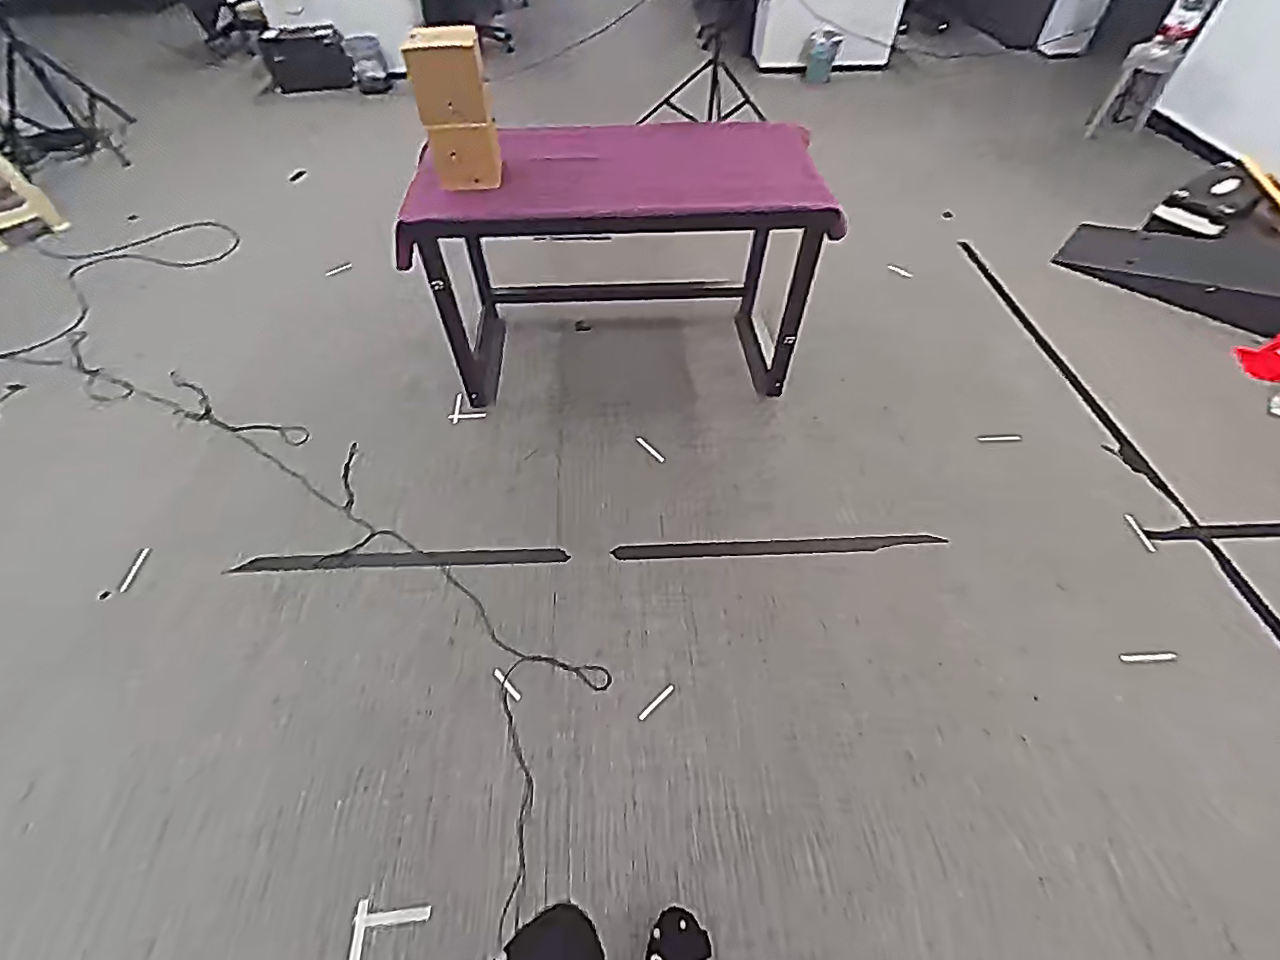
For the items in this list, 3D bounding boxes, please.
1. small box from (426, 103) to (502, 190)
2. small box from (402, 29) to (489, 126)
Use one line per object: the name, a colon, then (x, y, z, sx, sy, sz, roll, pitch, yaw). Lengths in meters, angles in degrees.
small box: (-0.493, -0.947, 1.542, 0.168, 0.176, 0.179, -6, 52, -4)
small box: (-0.499, -1.052, 1.416, 0.179, 0.176, 0.168, -7, 52, -6)
